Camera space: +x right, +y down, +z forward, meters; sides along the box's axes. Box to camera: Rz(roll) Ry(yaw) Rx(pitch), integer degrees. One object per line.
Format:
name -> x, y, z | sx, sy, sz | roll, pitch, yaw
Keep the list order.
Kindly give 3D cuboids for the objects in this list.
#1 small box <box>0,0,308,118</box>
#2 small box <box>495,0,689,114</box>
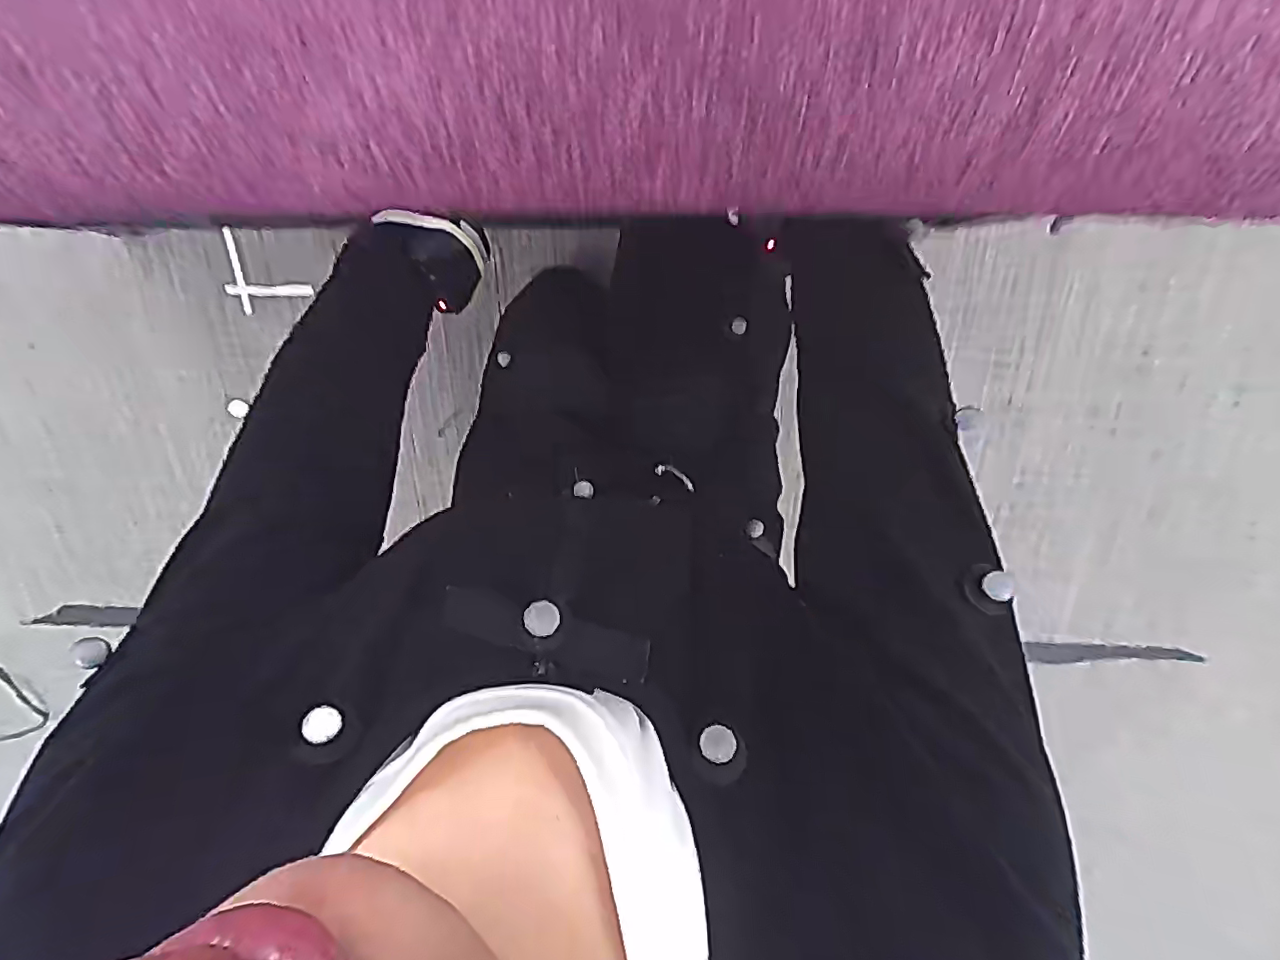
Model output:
small box -> -0.464, -0.474, 0.524 | 0.168, 0.176, 0.179 | 1, 114, 2
small box -> -0.038, -0.470, 0.511 | 0.168, 0.176, 0.179 | 0, 114, 4
